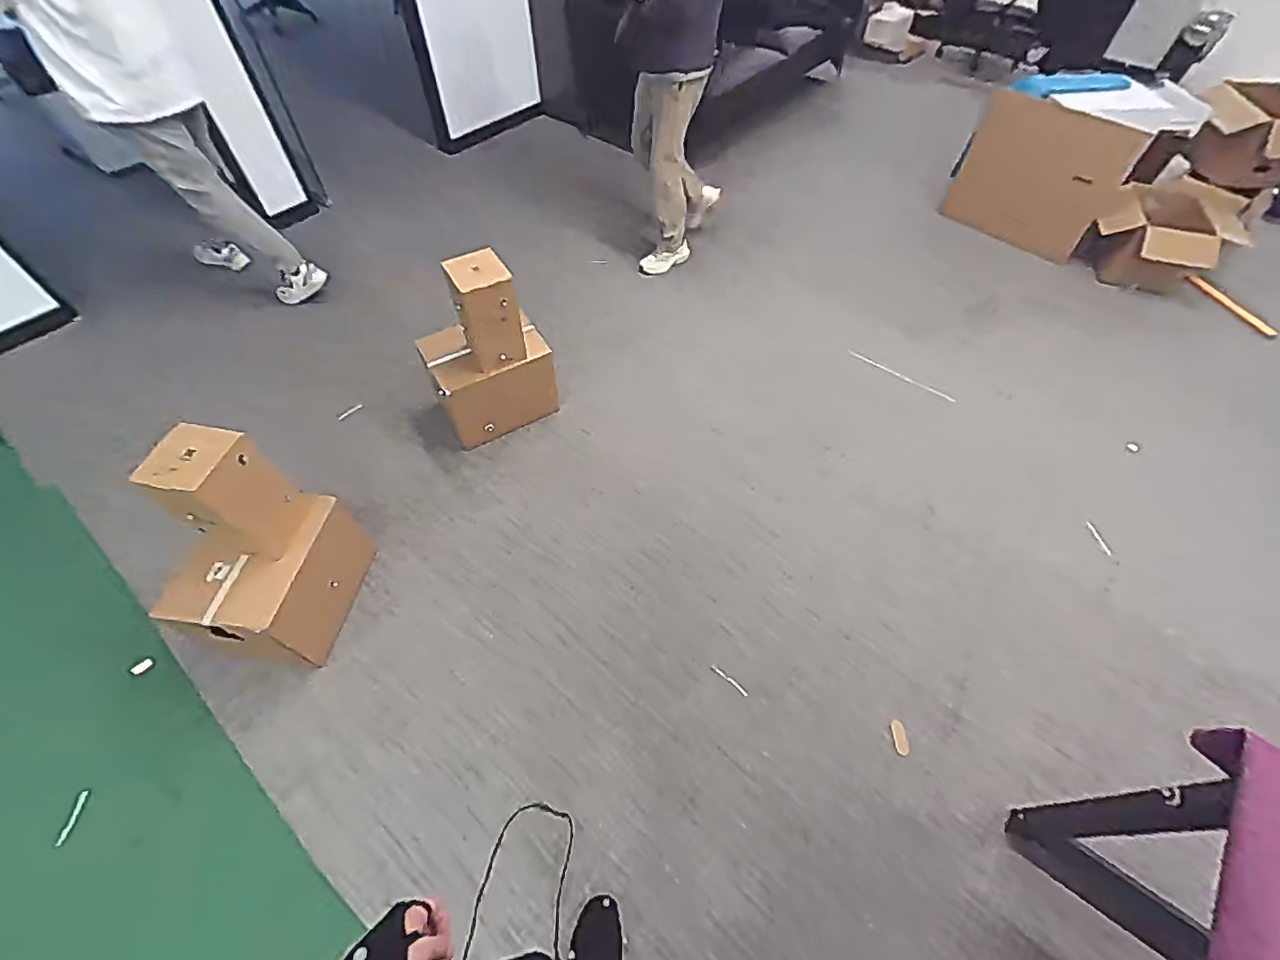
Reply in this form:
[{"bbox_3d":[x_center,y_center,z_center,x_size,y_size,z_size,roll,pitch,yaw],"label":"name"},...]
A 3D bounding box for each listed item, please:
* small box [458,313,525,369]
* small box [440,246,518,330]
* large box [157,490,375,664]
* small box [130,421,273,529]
[{"bbox_3d":[-0.507,-0.511,1.843,0.168,0.176,0.179,-25,61,-17],"label":"small box"},{"bbox_3d":[-0.502,-0.598,1.705,0.168,0.176,0.179,-26,60,-19],"label":"small box"},{"bbox_3d":[-1.044,0.281,1.576,0.320,0.320,0.408,5,56,4],"label":"large box"},{"bbox_3d":[-1.016,-0.011,1.279,0.168,0.176,0.179,9,55,6],"label":"small box"}]
